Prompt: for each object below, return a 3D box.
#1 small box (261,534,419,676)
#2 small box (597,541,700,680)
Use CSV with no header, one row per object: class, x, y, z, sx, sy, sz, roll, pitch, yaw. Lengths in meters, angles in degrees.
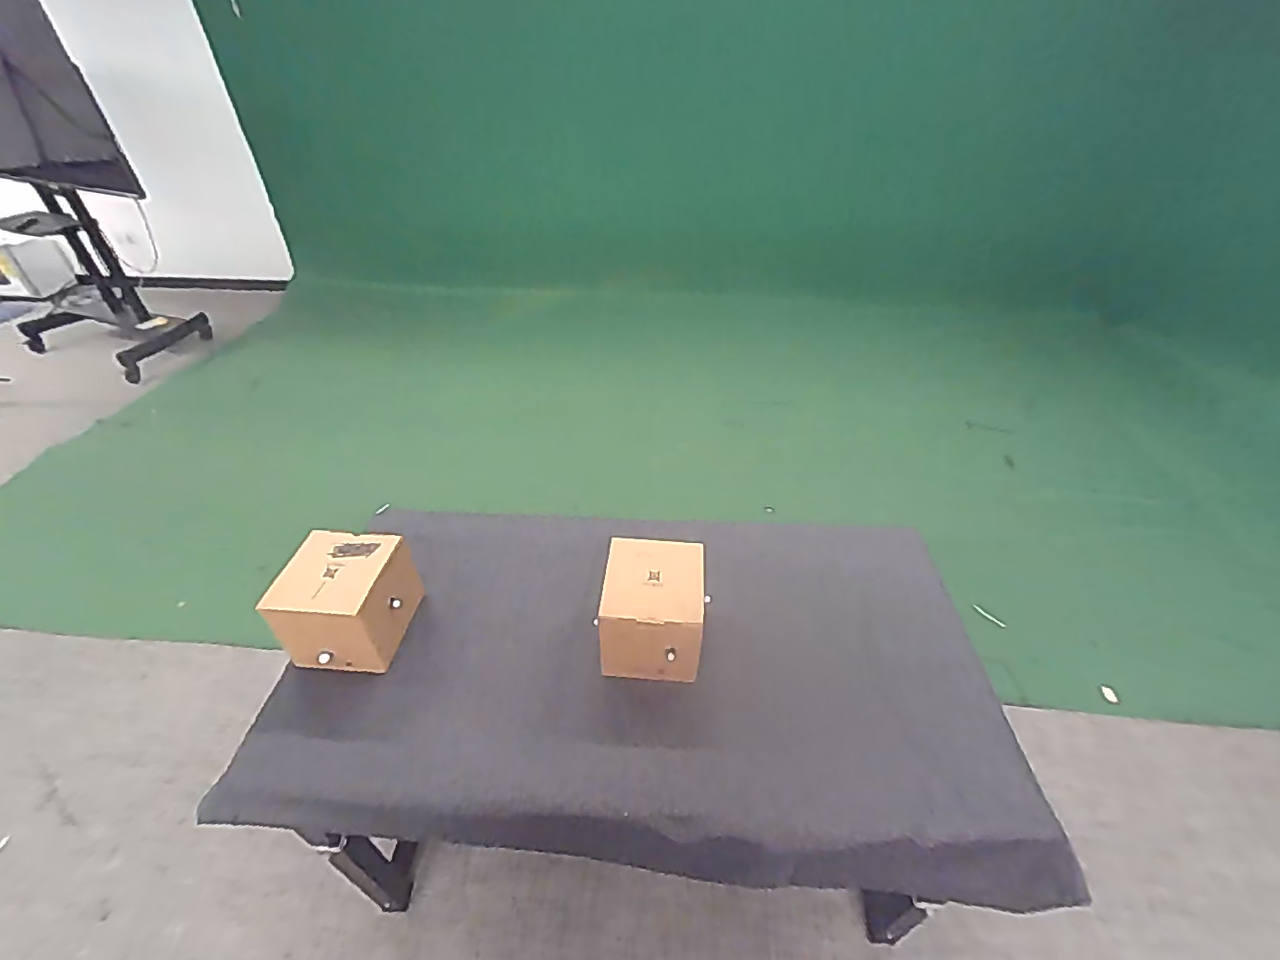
small box,-0.513,0.219,0.959,0.168,0.176,0.179,3,41,3
small box,0.018,0.232,0.957,0.168,0.176,0.179,4,39,2
